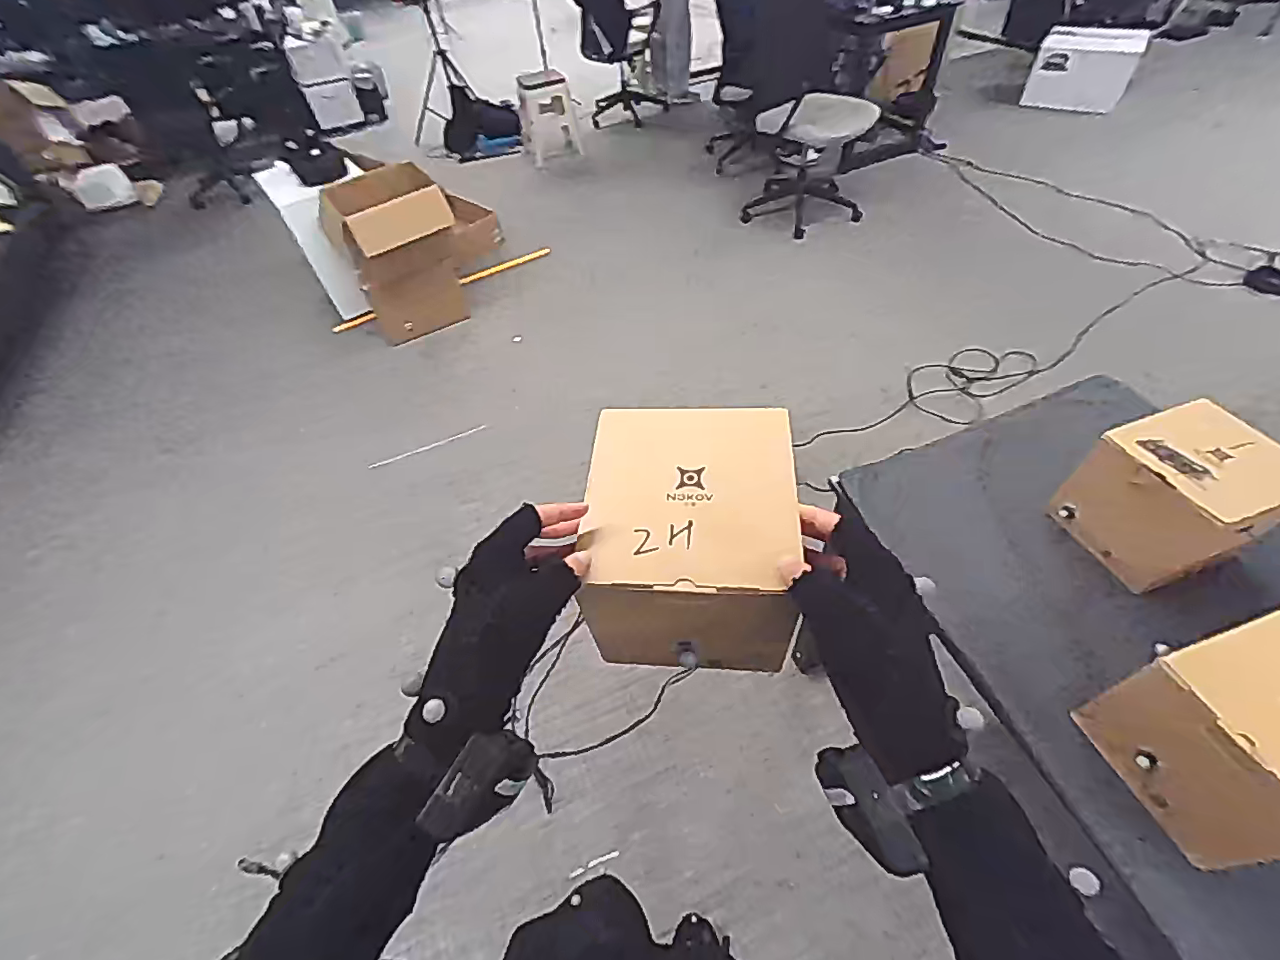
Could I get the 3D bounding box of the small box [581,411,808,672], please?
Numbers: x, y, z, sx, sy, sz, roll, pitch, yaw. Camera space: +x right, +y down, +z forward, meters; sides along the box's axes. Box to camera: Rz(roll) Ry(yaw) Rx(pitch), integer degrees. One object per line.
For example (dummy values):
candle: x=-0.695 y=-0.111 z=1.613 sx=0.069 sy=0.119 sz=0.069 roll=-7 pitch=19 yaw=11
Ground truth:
small box: x=0.052 y=0.057 z=0.497 sx=0.168 sy=0.176 sz=0.179 roll=1 pitch=52 yaw=8

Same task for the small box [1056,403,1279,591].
small box: x=0.727 y=0.027 z=0.745 sx=0.179 sy=0.176 sz=0.168 roll=-17 pitch=50 yaw=-9

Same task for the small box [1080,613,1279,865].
small box: x=0.620 y=0.265 z=0.555 sx=0.179 sy=0.176 sz=0.168 roll=-17 pitch=50 yaw=-9
